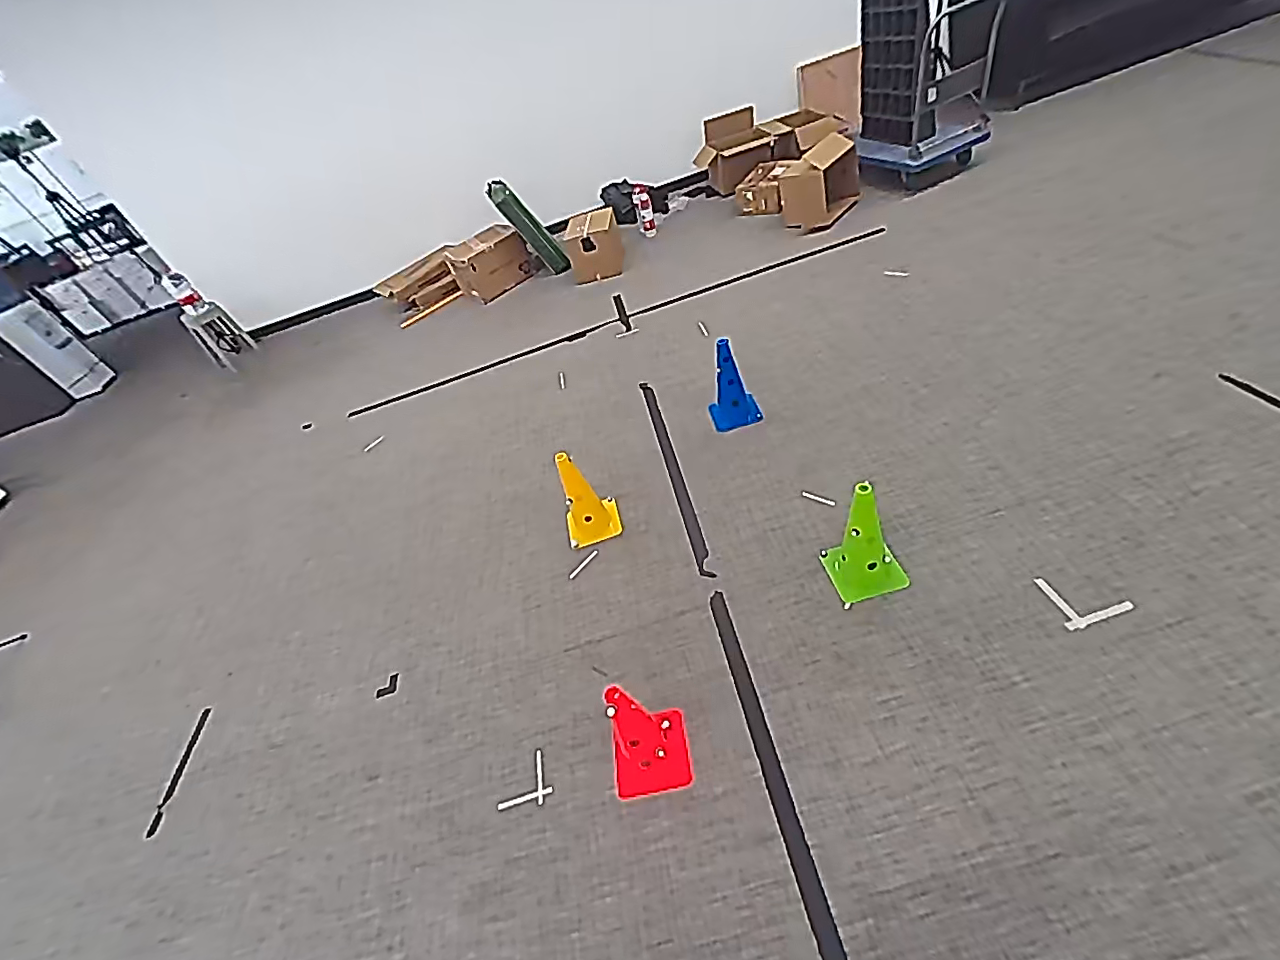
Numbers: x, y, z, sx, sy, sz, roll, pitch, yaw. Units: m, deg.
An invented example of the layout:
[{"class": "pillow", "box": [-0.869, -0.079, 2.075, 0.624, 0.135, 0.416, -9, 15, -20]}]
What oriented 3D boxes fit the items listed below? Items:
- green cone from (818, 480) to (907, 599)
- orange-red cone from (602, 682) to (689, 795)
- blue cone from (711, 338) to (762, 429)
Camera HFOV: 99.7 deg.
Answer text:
[{"class": "green cone", "box": [0.626, 0.142, 1.518, 0.202, 0.368, 0.200, -17, 42, 2]}, {"class": "orange-red cone", "box": [-0.021, 0.590, 1.309, 0.199, 0.360, 0.198, -16, 41, 7]}, {"class": "blue cone", "box": [0.370, -0.406, 2.211, 0.192, 0.380, 0.193, -15, 43, 5]}]
